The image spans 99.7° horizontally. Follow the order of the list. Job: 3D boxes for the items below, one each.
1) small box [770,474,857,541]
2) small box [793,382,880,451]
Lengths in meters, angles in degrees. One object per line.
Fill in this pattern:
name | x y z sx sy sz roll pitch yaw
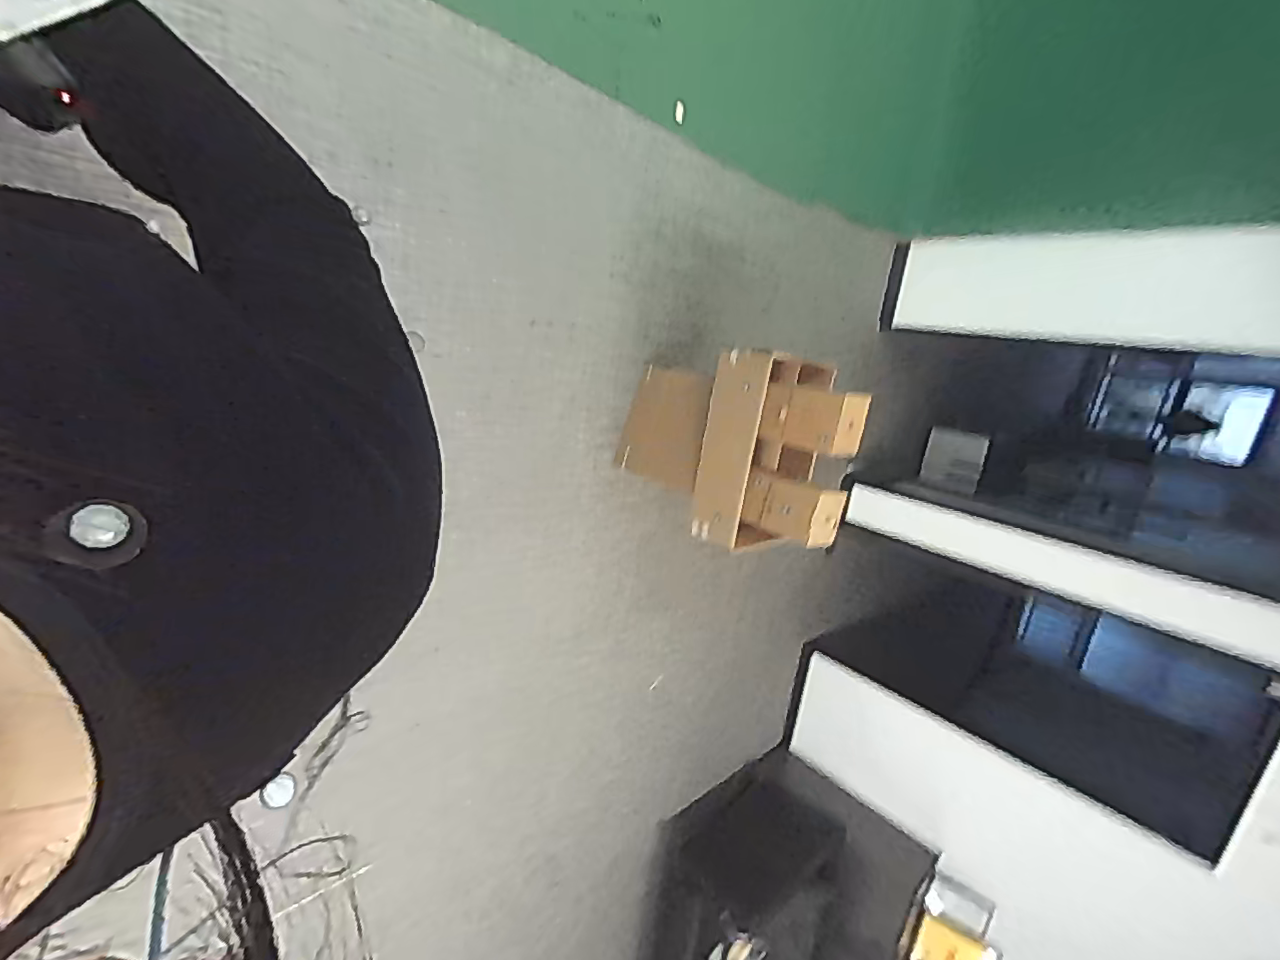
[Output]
small box | 0.525 0.082 1.652 0.179 0.176 0.168 4 103 -43
small box | 0.574 -0.190 1.593 0.168 0.176 0.179 -5 111 -42
